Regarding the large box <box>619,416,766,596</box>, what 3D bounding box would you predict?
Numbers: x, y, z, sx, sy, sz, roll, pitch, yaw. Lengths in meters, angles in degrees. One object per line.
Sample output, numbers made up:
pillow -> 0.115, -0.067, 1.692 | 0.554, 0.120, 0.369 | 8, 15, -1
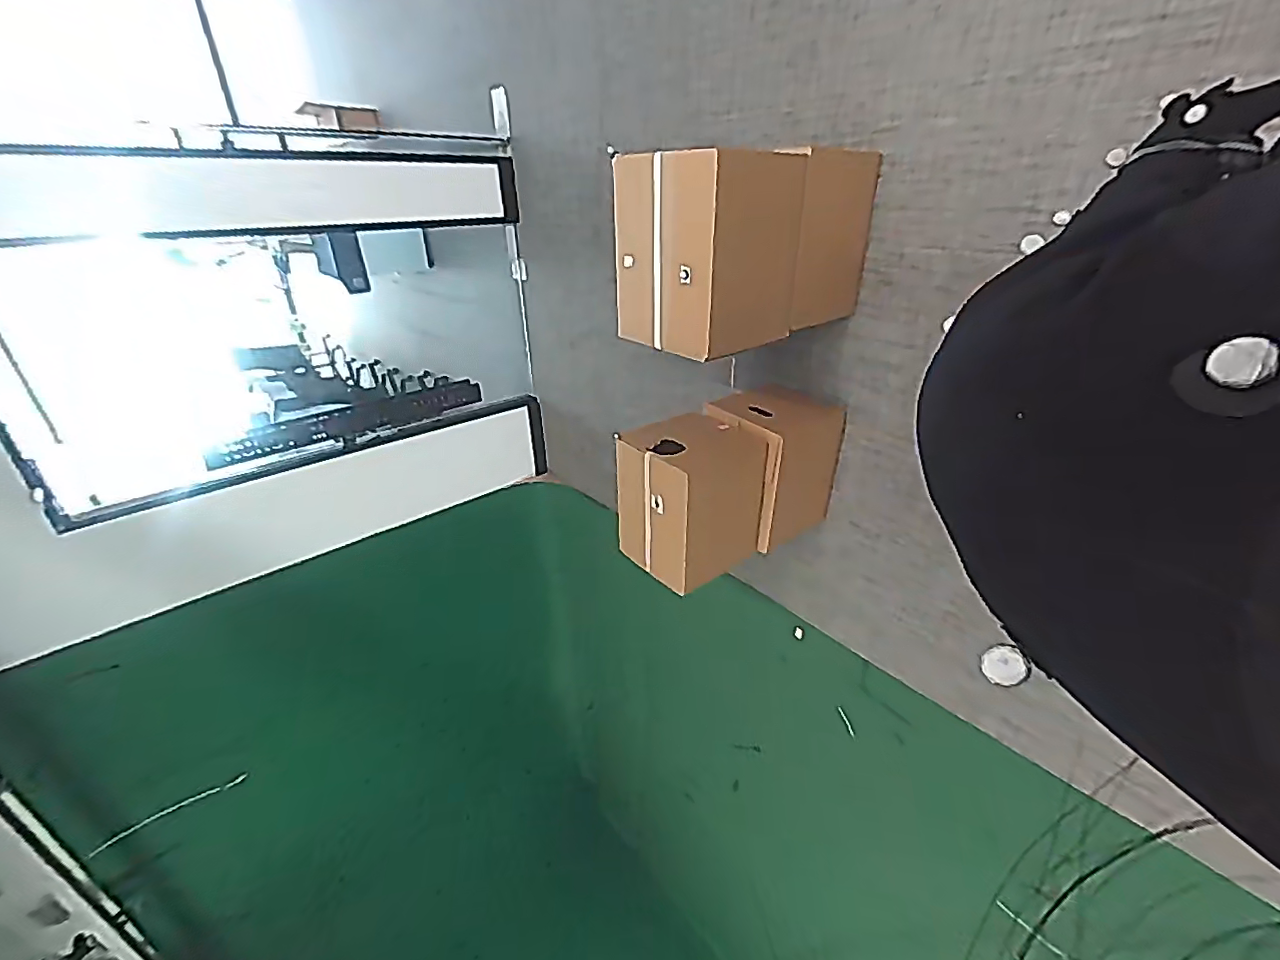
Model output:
large box -> 0.148, 0.063, 1.628 | 0.320, 0.320, 0.408 | 32, 130, 45
